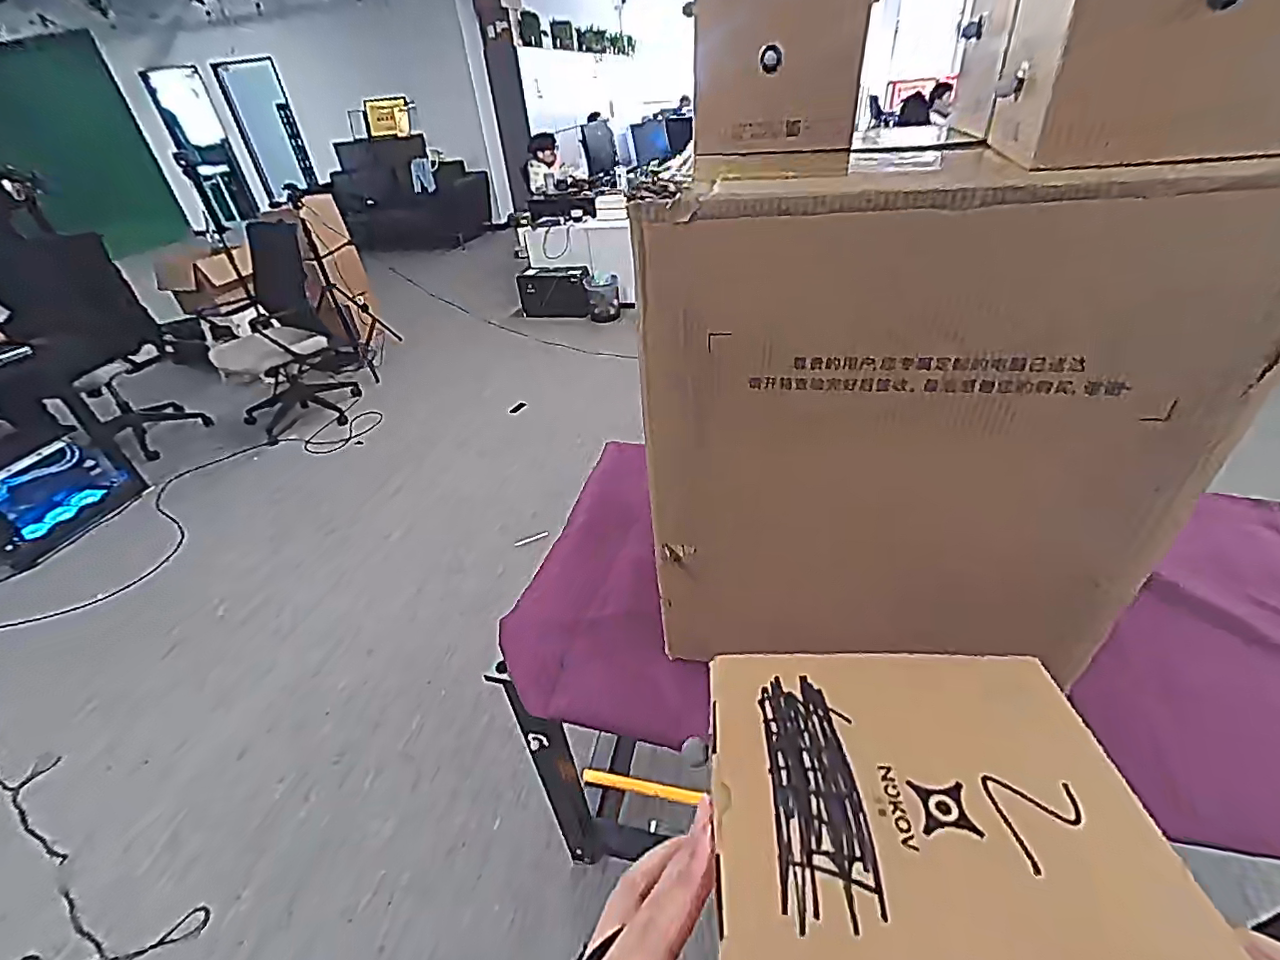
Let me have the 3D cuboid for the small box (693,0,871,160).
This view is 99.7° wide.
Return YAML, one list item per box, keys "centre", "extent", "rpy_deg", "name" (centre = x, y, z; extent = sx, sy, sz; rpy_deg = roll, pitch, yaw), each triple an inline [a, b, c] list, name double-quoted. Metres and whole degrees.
- centre: [0.153, -0.455, 0.590]
  extent: [0.168, 0.176, 0.179]
  rpy_deg: [5, 38, 12]
  name: "small box"
